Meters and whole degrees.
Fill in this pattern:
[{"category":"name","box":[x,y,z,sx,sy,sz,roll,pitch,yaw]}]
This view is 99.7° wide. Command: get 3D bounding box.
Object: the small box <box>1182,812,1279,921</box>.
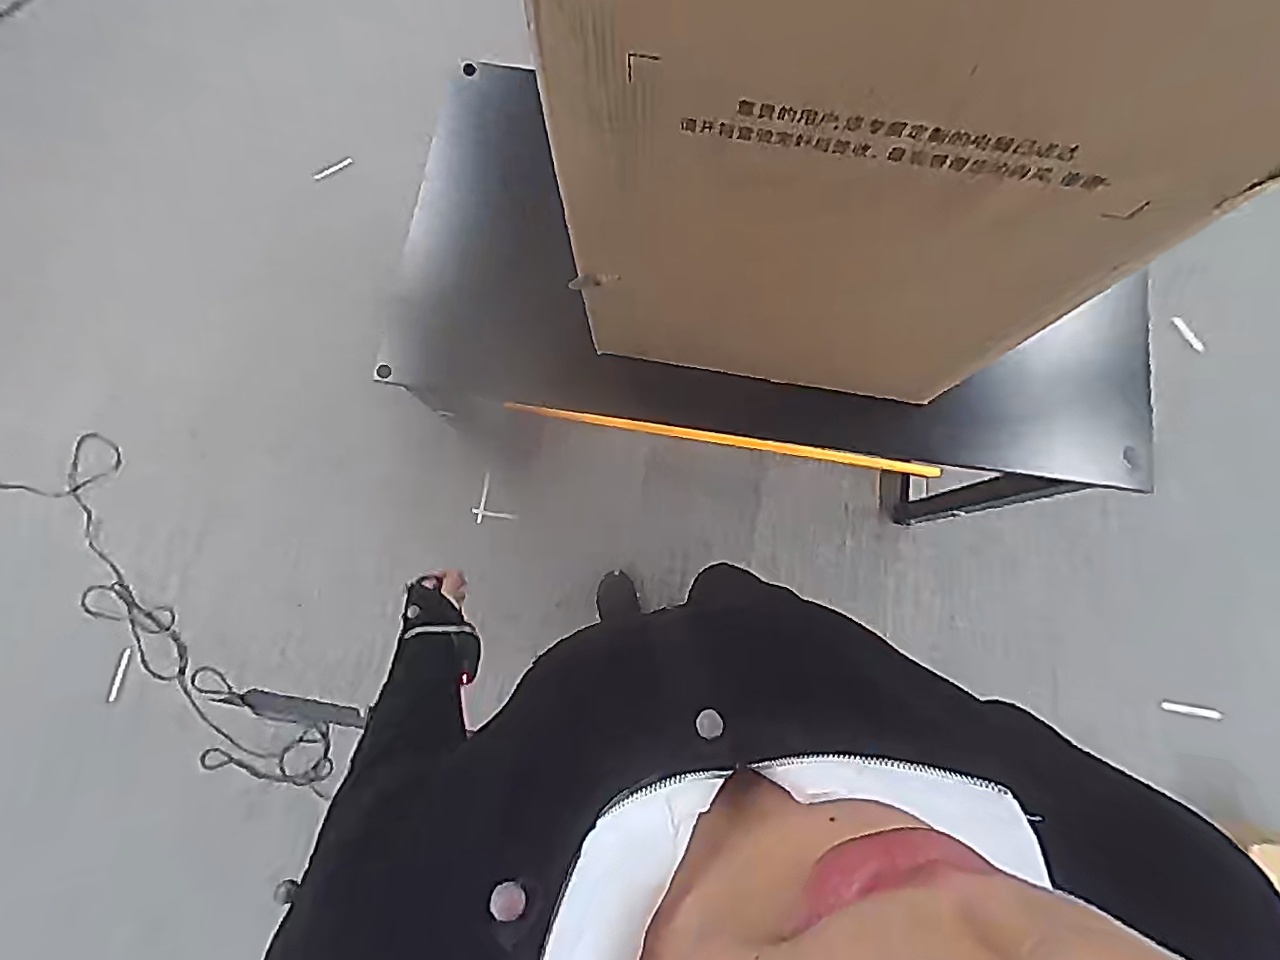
[{"category":"small box","box":[1.480,0.923,1.300,0.179,0.176,0.168,2,79,2]}]
